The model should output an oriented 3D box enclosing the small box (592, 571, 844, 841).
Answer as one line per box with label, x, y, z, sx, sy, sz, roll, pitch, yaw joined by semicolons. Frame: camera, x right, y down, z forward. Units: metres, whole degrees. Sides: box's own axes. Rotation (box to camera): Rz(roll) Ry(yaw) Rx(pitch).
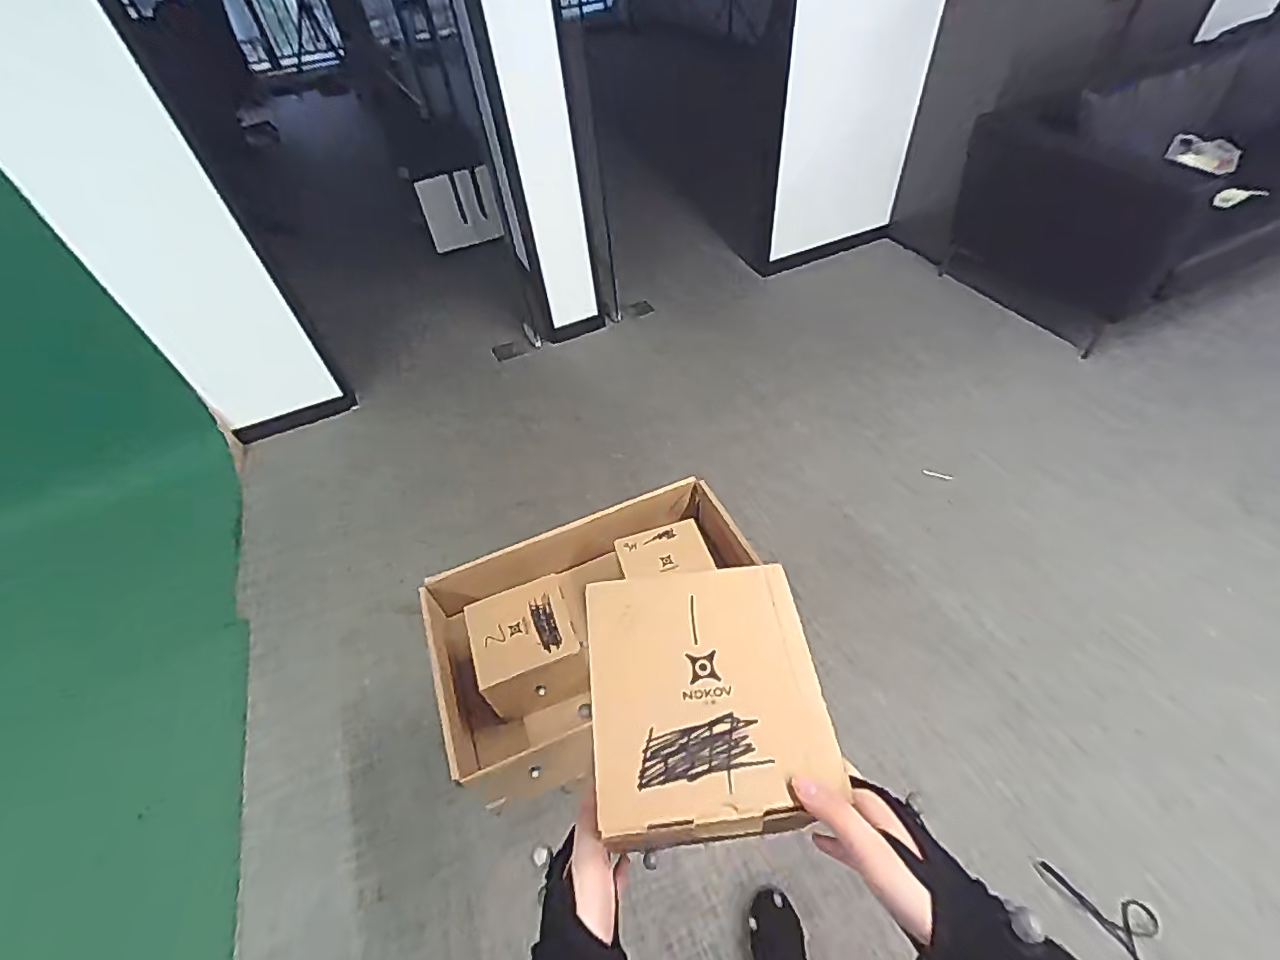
small box;0.048;0.197;0.459;0.168;0.176;0.179;-3;53;-3
